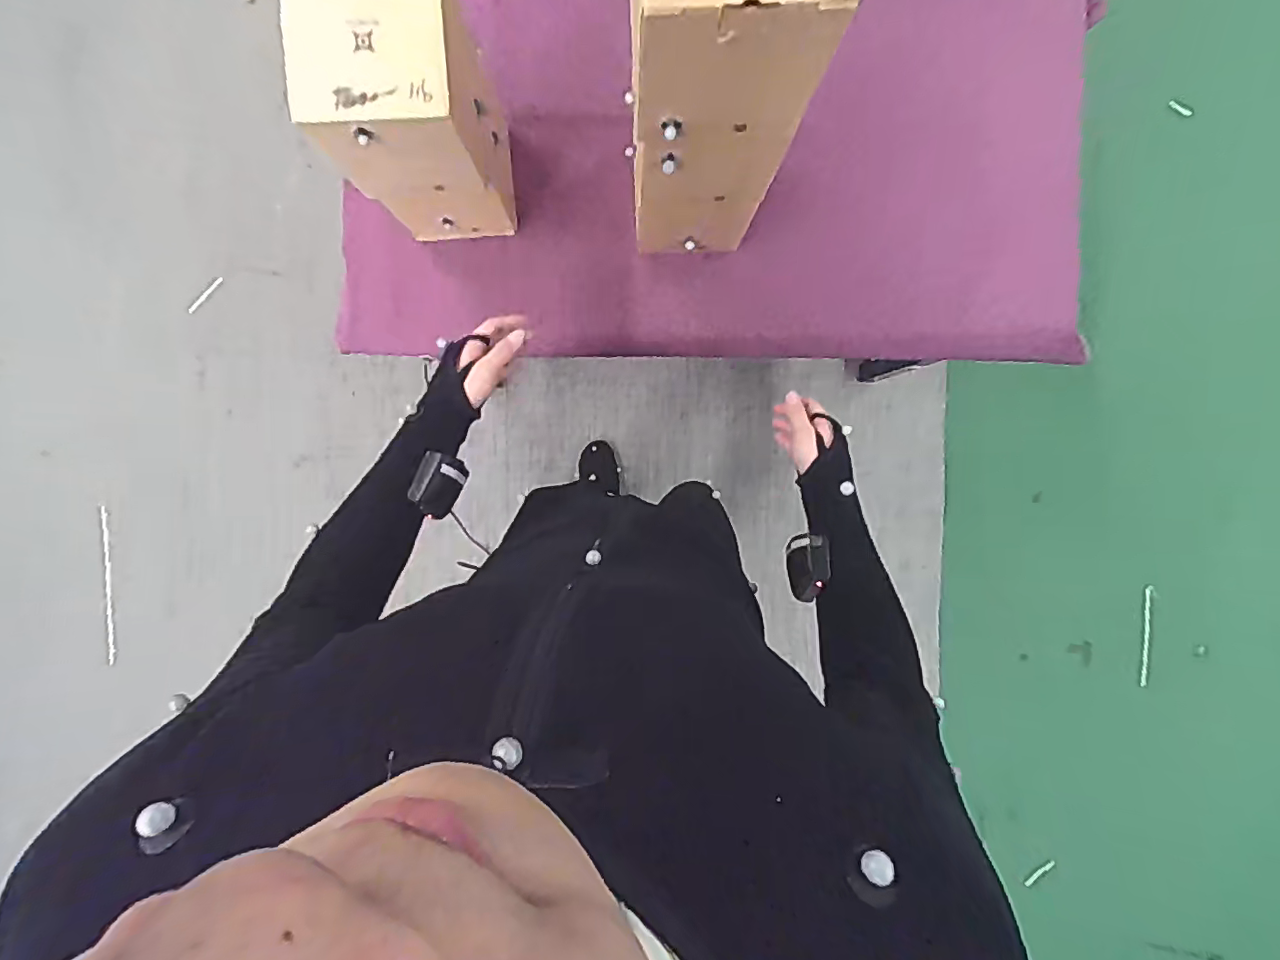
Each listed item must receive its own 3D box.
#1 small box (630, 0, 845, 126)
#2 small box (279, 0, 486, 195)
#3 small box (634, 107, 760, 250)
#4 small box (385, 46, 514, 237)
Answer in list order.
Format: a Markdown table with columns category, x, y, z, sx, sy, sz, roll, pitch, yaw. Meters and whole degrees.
| category | x | y | z | sx | sy | sz | roll | pitch | yaw |
| --- | --- | --- | --- | --- | --- | --- | --- | --- | --- |
| small box | 0.074 | -0.439 | 0.471 | 0.168 | 0.176 | 0.179 | -3 | 91 | -1 |
| small box | -0.284 | -0.462 | 0.630 | 0.168 | 0.176 | 0.179 | -3 | 92 | -1 |
| small box | 0.075 | -0.462 | 0.799 | 0.168 | 0.176 | 0.179 | -2 | 92 | 0 |
| small box | -0.288 | -0.483 | 0.793 | 0.168 | 0.176 | 0.179 | -5 | 93 | -1 |
